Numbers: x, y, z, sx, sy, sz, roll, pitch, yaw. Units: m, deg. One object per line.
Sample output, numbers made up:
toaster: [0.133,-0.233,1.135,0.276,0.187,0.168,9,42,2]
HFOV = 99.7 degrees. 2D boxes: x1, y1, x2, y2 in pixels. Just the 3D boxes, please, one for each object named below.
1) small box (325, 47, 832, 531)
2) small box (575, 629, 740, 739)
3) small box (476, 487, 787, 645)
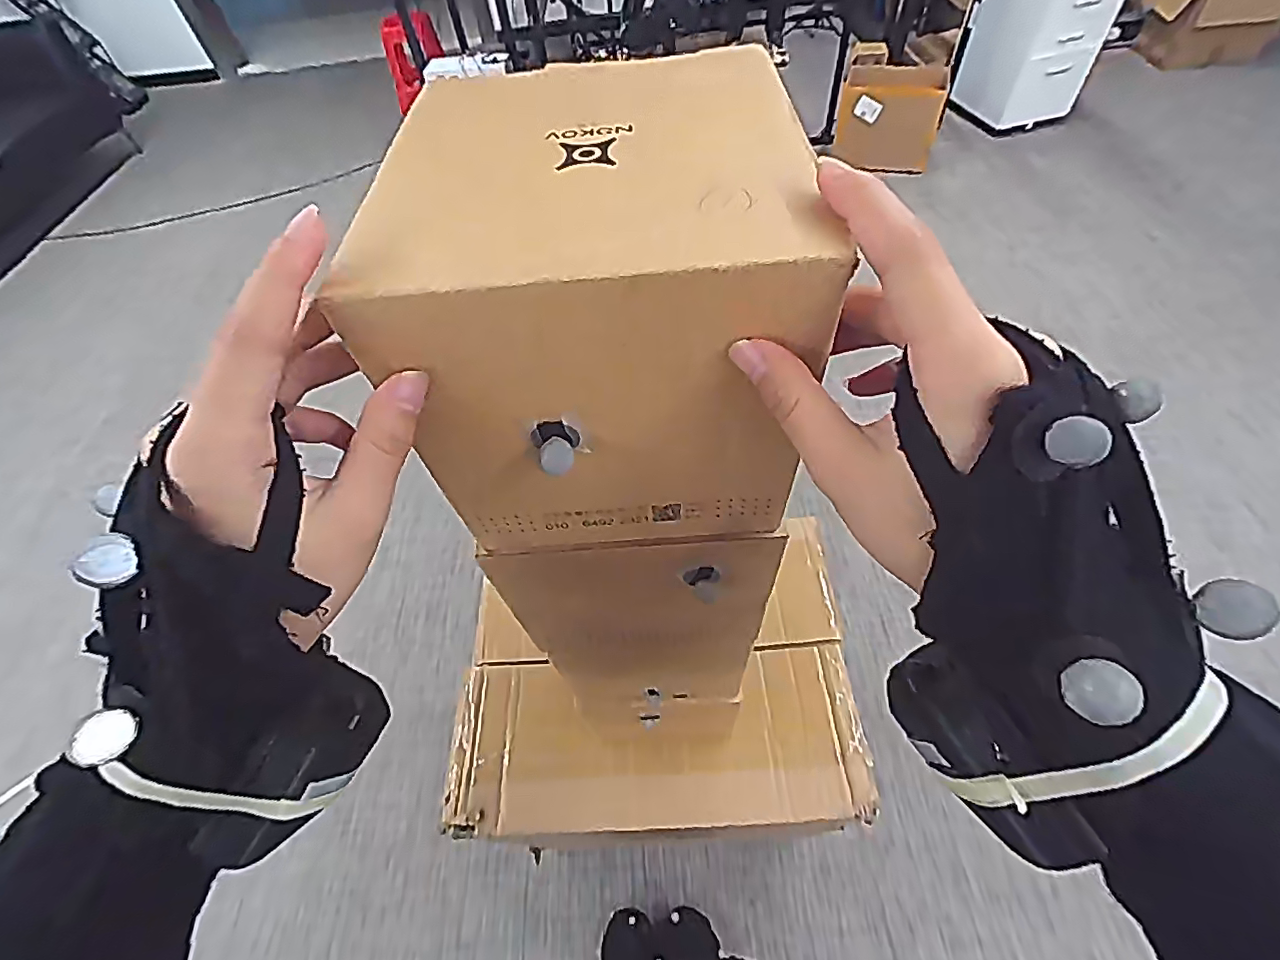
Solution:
small box: [-0.016,-0.084,0.280,0.168,0.176,0.179,-5,54,2]
small box: [0.023,0.214,0.669,0.179,0.176,0.168,-4,54,2]
small box: [-0.002,0.015,0.408,0.179,0.176,0.168,-4,54,3]
